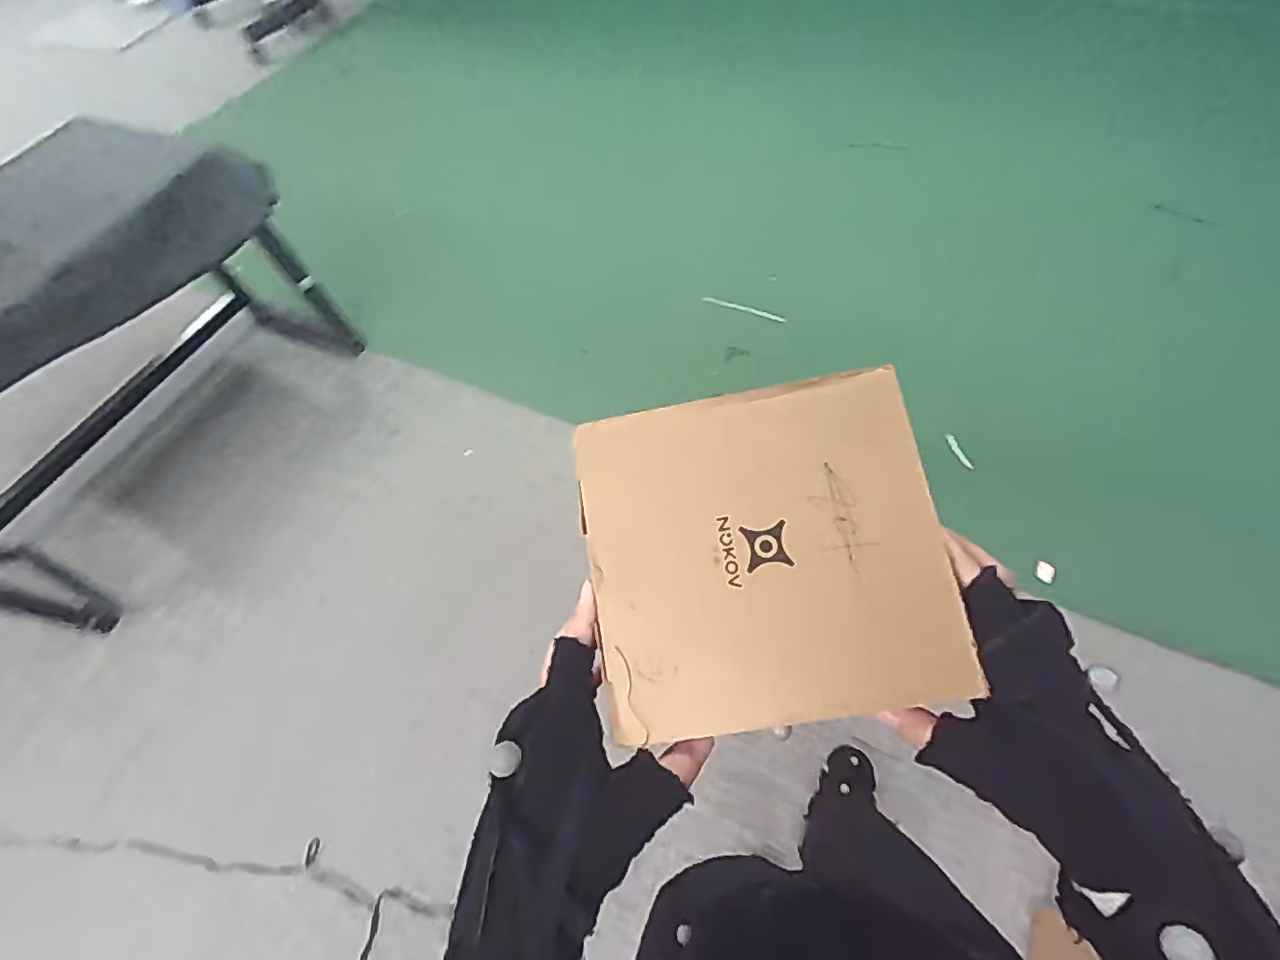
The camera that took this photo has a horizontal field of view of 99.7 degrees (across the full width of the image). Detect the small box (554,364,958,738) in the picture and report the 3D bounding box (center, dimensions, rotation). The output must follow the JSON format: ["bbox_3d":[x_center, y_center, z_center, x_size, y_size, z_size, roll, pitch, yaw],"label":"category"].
[{"bbox_3d":[0.059,0.049,0.352,0.179,0.176,0.168,-12,77,3],"label":"small box"}]
